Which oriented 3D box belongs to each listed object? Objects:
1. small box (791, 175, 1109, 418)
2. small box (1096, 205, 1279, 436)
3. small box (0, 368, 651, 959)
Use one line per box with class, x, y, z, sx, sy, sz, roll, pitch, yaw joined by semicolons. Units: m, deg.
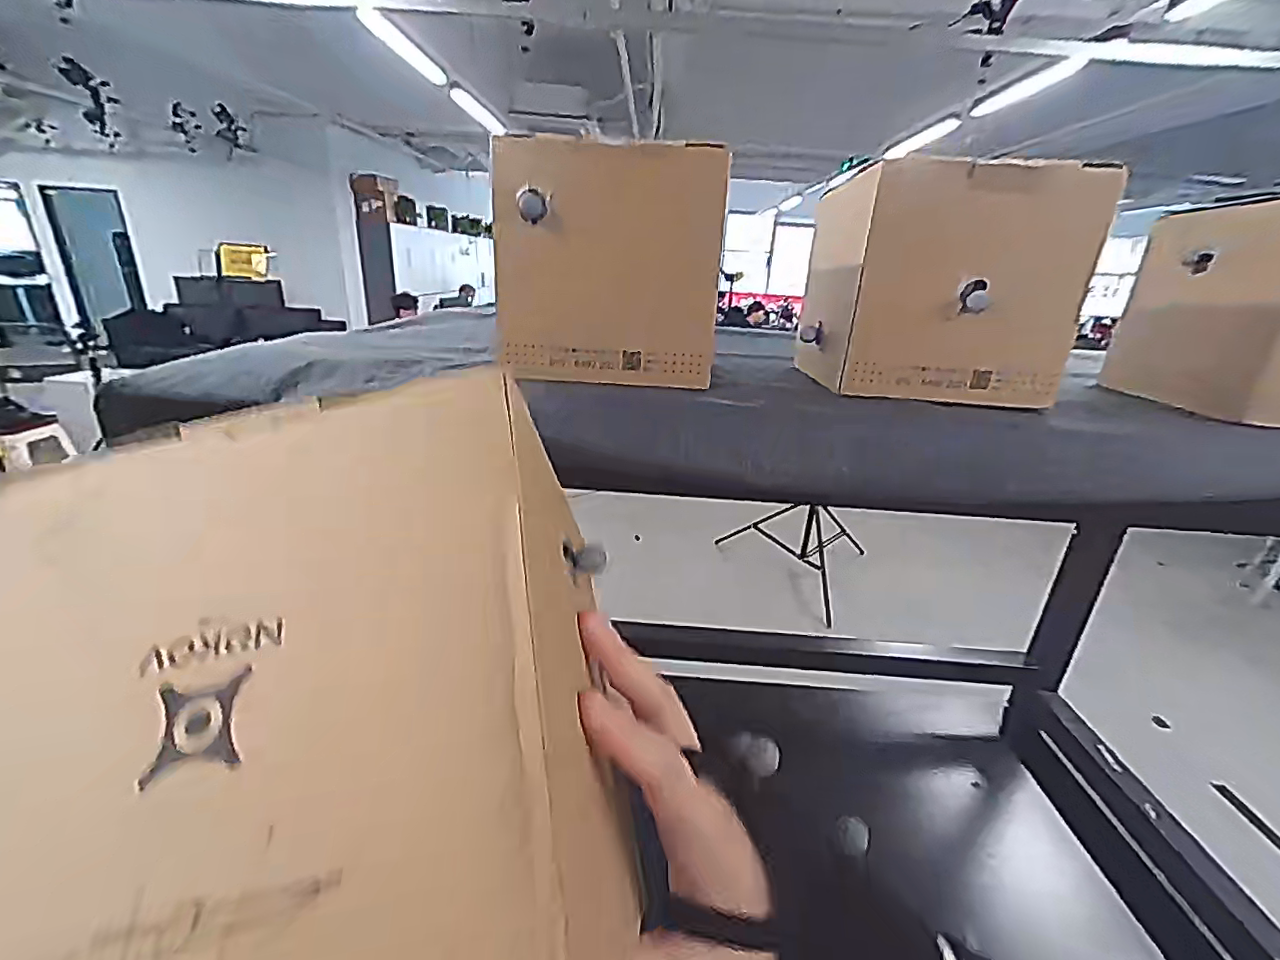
small box;0.243;-0.156;0.478;0.168;0.176;0.179;5;19;1
small box;0.555;-0.134;0.469;0.168;0.176;0.179;5;21;6
small box;-0.095;0.090;0.207;0.168;0.176;0.179;-14;63;-2
